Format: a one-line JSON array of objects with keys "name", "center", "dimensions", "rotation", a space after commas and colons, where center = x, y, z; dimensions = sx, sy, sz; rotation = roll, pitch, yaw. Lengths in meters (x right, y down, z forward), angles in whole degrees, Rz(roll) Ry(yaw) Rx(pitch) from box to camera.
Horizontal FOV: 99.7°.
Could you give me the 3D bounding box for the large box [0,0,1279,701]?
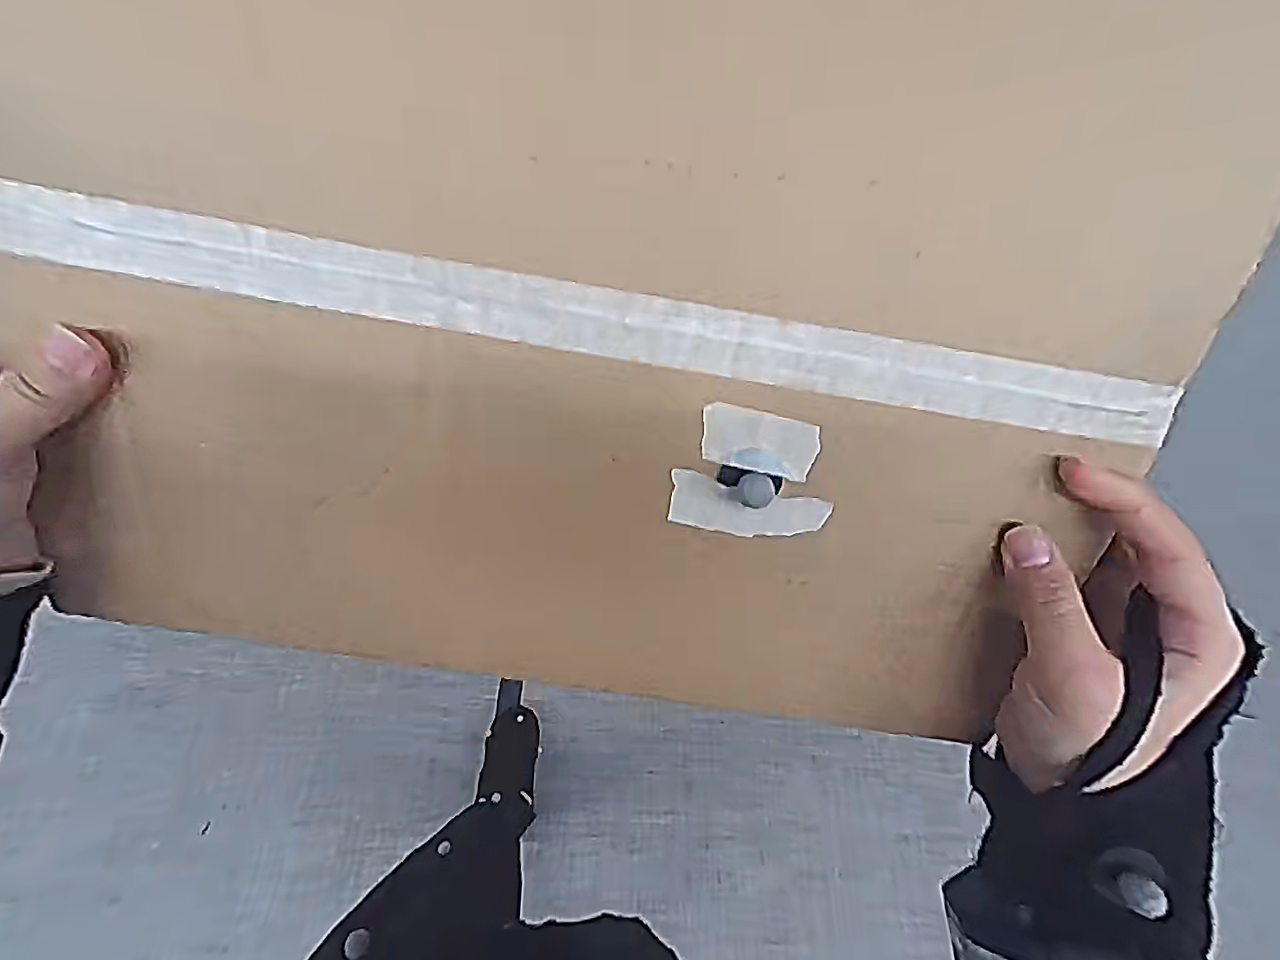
[{"name": "large box", "center": [-0.017, -0.116, 0.325], "dimensions": [0.408, 0.320, 0.320], "rotation": [9, 23, -4]}]
